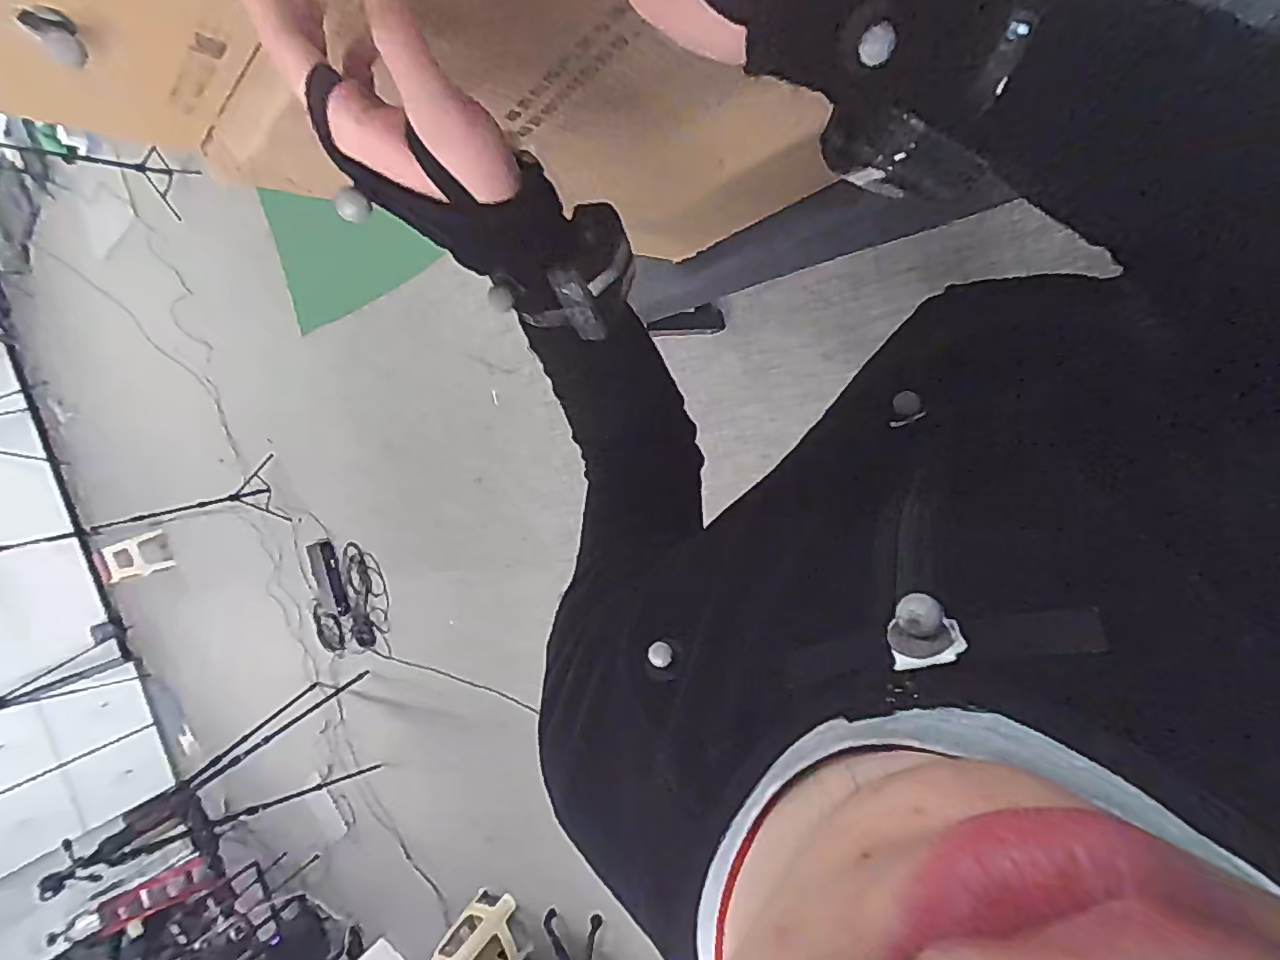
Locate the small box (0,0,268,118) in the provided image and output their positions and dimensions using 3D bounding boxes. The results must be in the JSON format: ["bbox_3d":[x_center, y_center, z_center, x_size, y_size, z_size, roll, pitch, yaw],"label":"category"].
[{"bbox_3d":[-0.303,-0.300,0.244,0.168,0.176,0.179,-11,98,37],"label":"small box"}]
